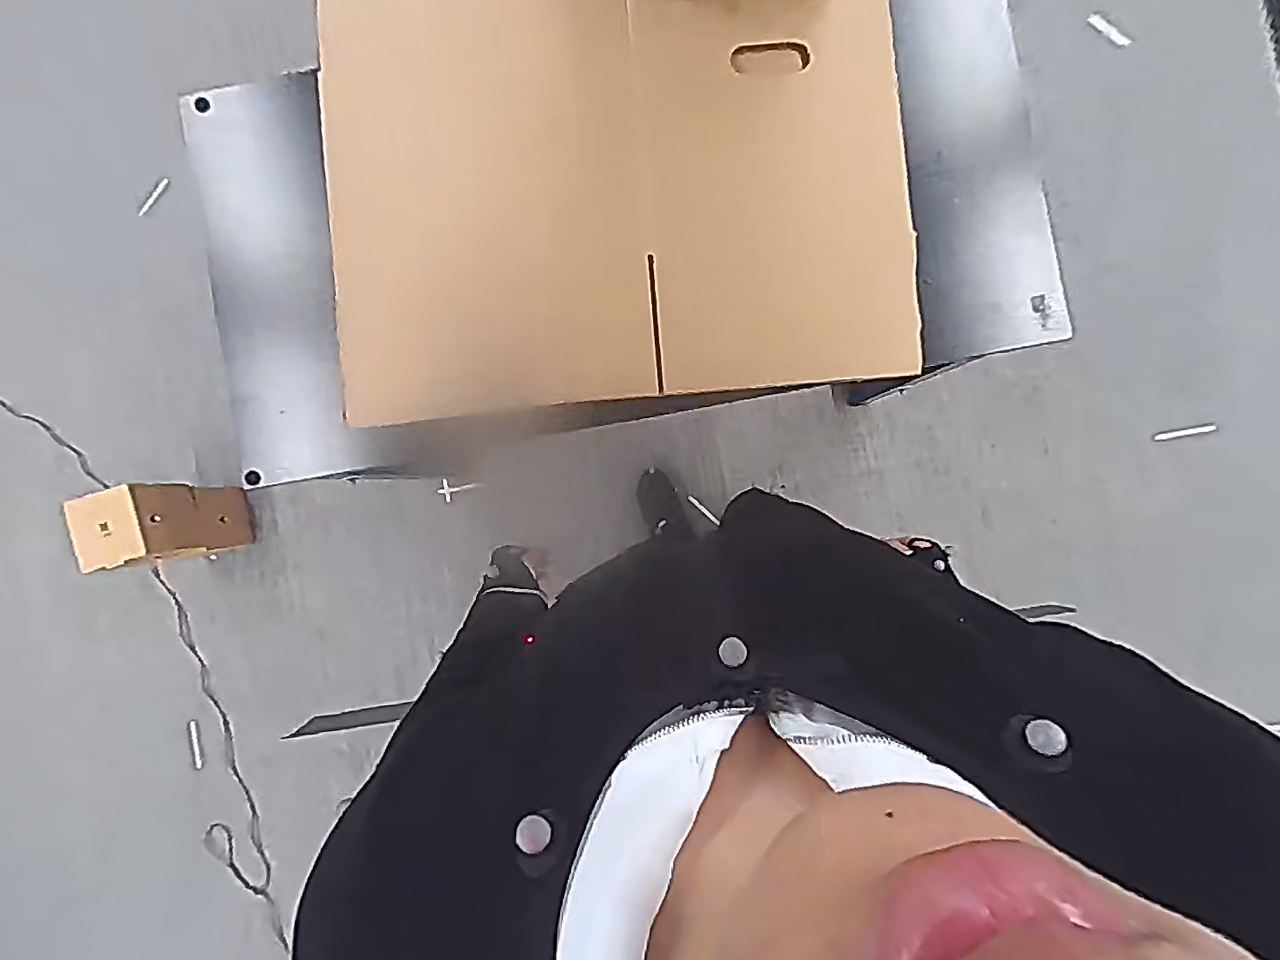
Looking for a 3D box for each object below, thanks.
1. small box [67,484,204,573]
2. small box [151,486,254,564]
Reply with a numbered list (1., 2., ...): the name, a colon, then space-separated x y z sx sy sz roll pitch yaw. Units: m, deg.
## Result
1. small box: -1.227 0.112 1.331 0.168 0.176 0.179 -17 88 2
2. small box: -1.217 0.120 1.493 0.168 0.176 0.179 -14 89 3
